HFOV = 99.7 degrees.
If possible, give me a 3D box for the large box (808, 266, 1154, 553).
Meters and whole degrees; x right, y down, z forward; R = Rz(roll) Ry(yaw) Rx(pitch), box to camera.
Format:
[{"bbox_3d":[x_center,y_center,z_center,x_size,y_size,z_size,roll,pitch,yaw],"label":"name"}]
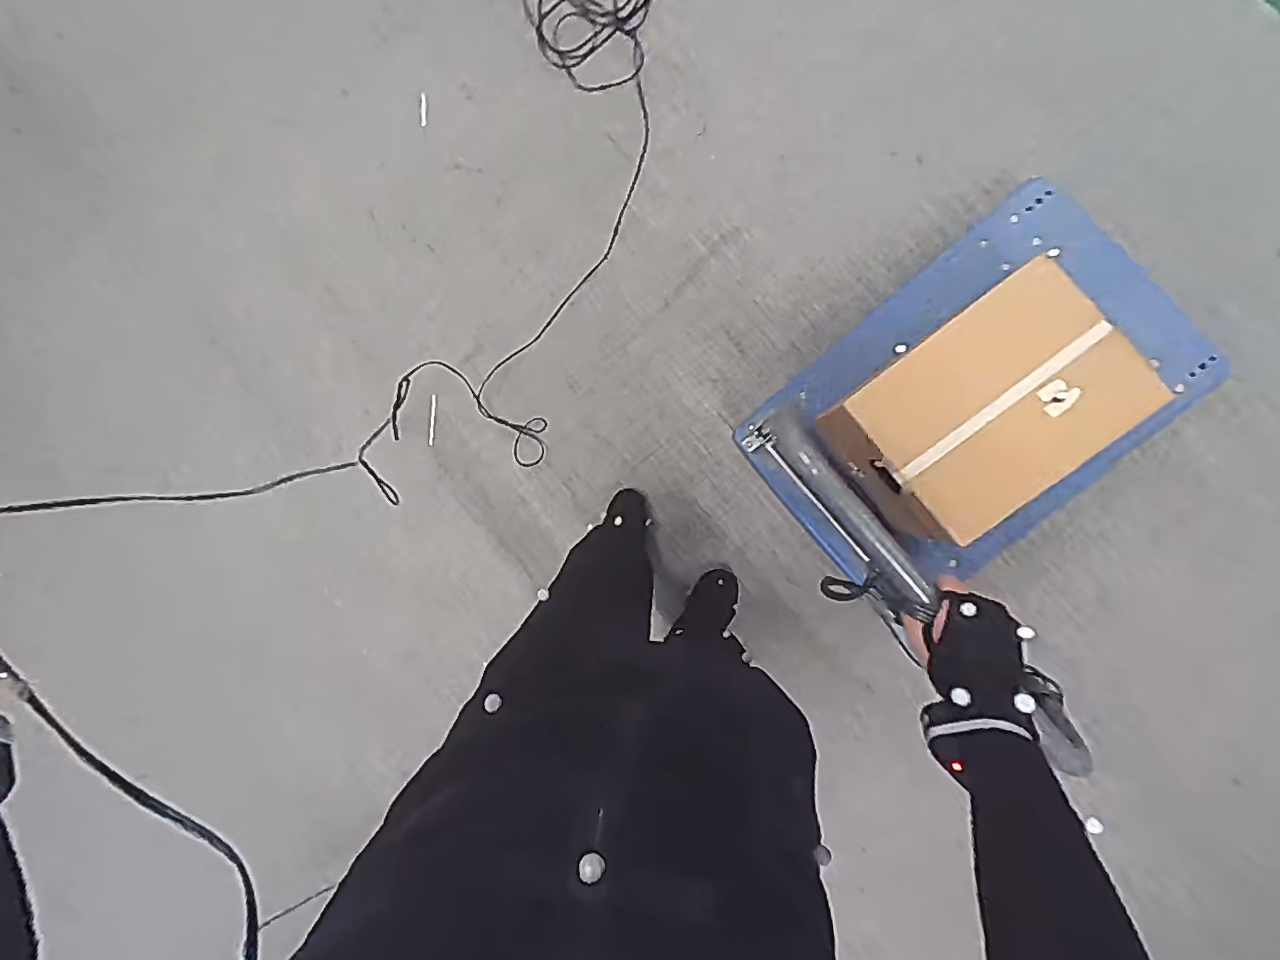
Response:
[{"bbox_3d":[0.602,-0.110,1.046,0.408,0.320,0.320,-38,85,5],"label":"large box"}]
